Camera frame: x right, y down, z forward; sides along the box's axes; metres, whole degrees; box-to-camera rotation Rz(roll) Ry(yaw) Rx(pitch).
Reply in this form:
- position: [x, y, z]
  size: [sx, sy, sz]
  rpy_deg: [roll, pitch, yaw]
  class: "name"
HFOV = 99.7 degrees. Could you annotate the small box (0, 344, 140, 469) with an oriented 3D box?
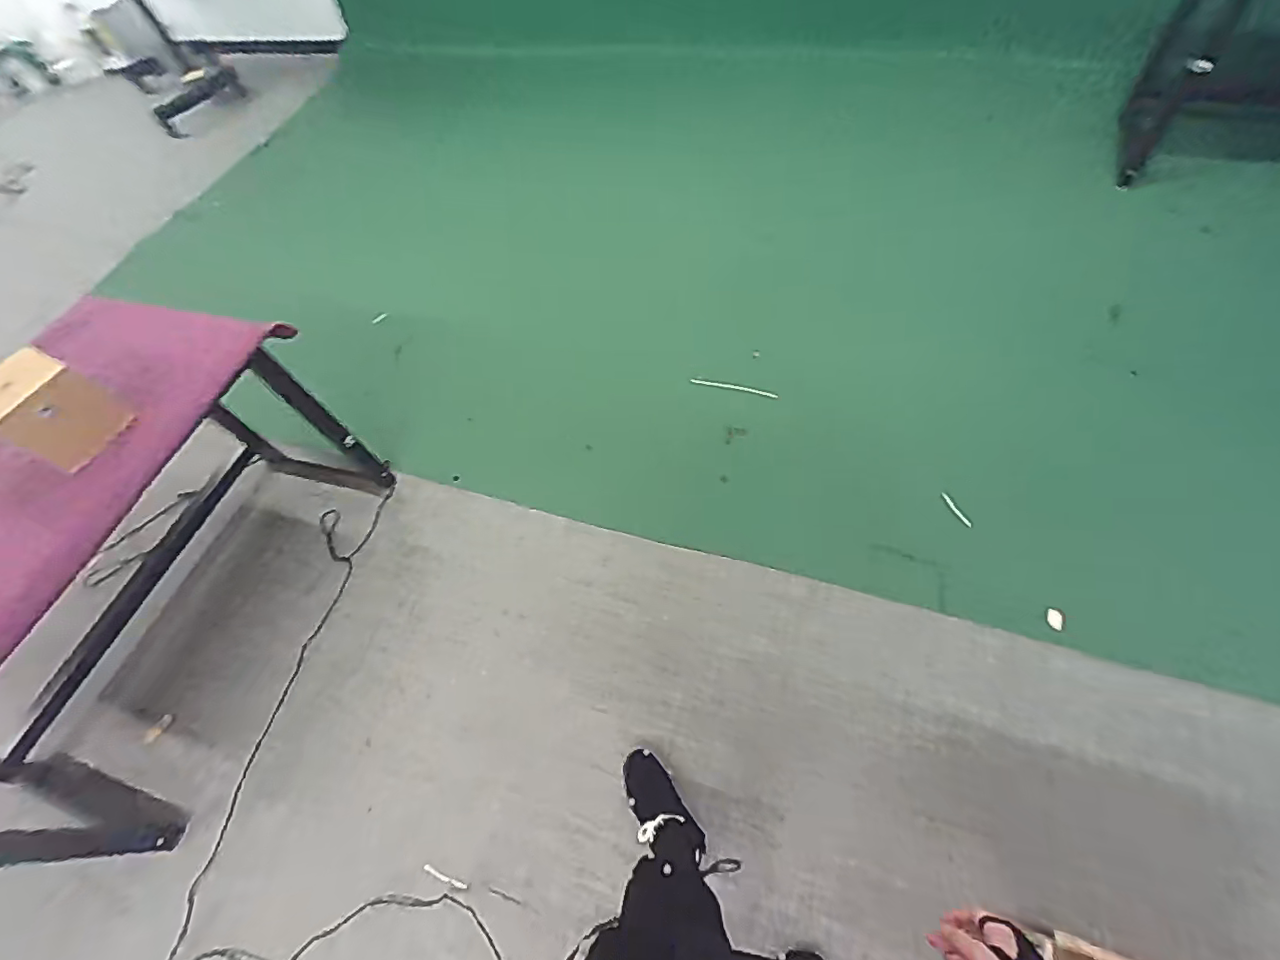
- position: [-1.236, -0.150, 1.141]
  size: [0.168, 0.176, 0.179]
  rpy_deg: [22, 65, 20]
  class: "small box"
